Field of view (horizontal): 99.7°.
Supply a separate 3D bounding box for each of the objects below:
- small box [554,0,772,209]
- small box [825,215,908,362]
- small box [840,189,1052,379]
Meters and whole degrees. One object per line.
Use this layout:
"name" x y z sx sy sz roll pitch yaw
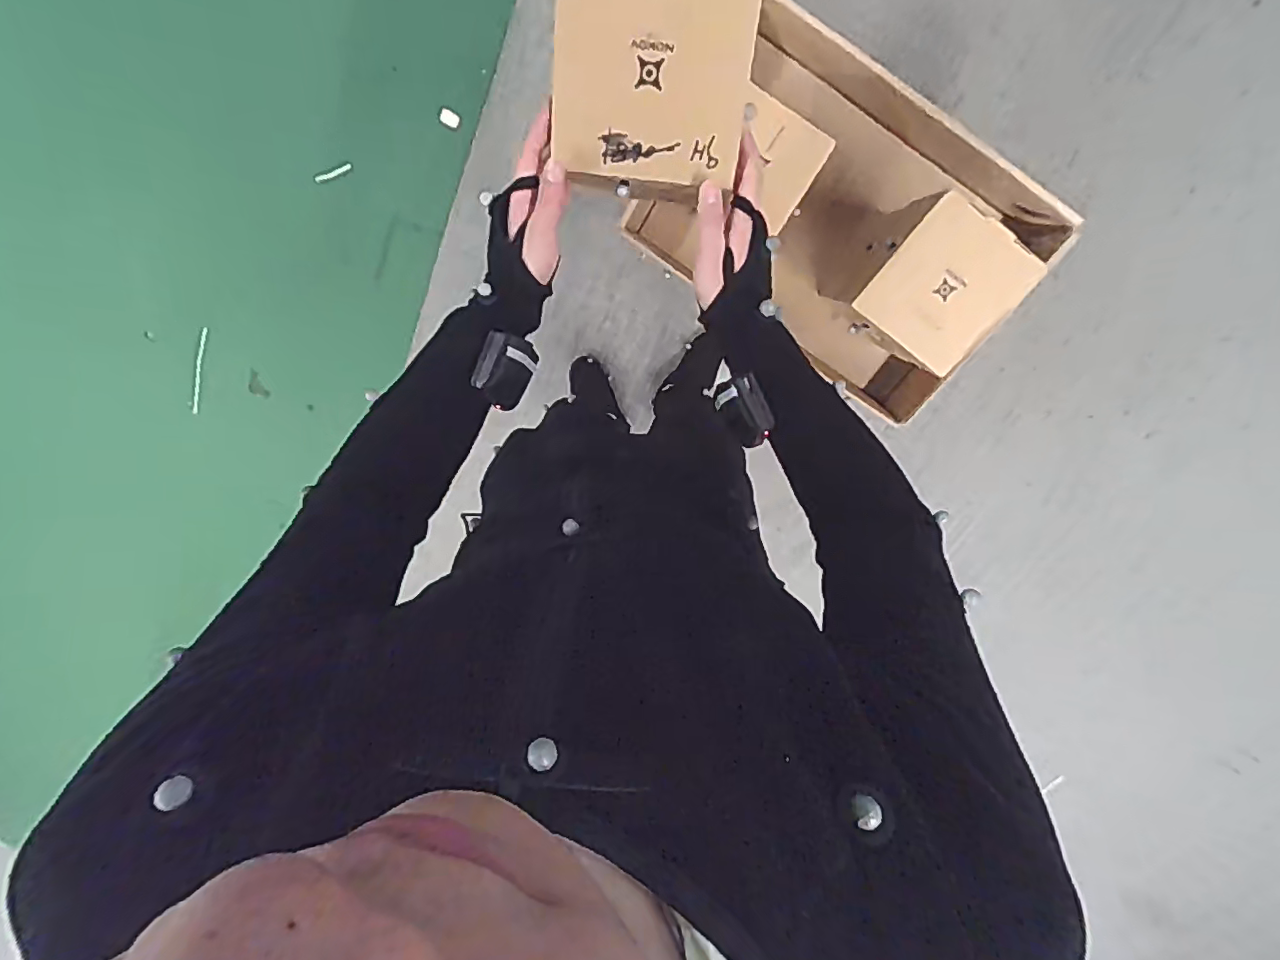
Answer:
"small box" 0.021 -0.369 0.511 0.168 0.176 0.179 8 112 2
"small box" 0.442 -0.331 0.921 0.168 0.176 0.179 37 112 -6
"small box" 0.413 -0.275 0.770 0.168 0.176 0.179 37 112 -5
